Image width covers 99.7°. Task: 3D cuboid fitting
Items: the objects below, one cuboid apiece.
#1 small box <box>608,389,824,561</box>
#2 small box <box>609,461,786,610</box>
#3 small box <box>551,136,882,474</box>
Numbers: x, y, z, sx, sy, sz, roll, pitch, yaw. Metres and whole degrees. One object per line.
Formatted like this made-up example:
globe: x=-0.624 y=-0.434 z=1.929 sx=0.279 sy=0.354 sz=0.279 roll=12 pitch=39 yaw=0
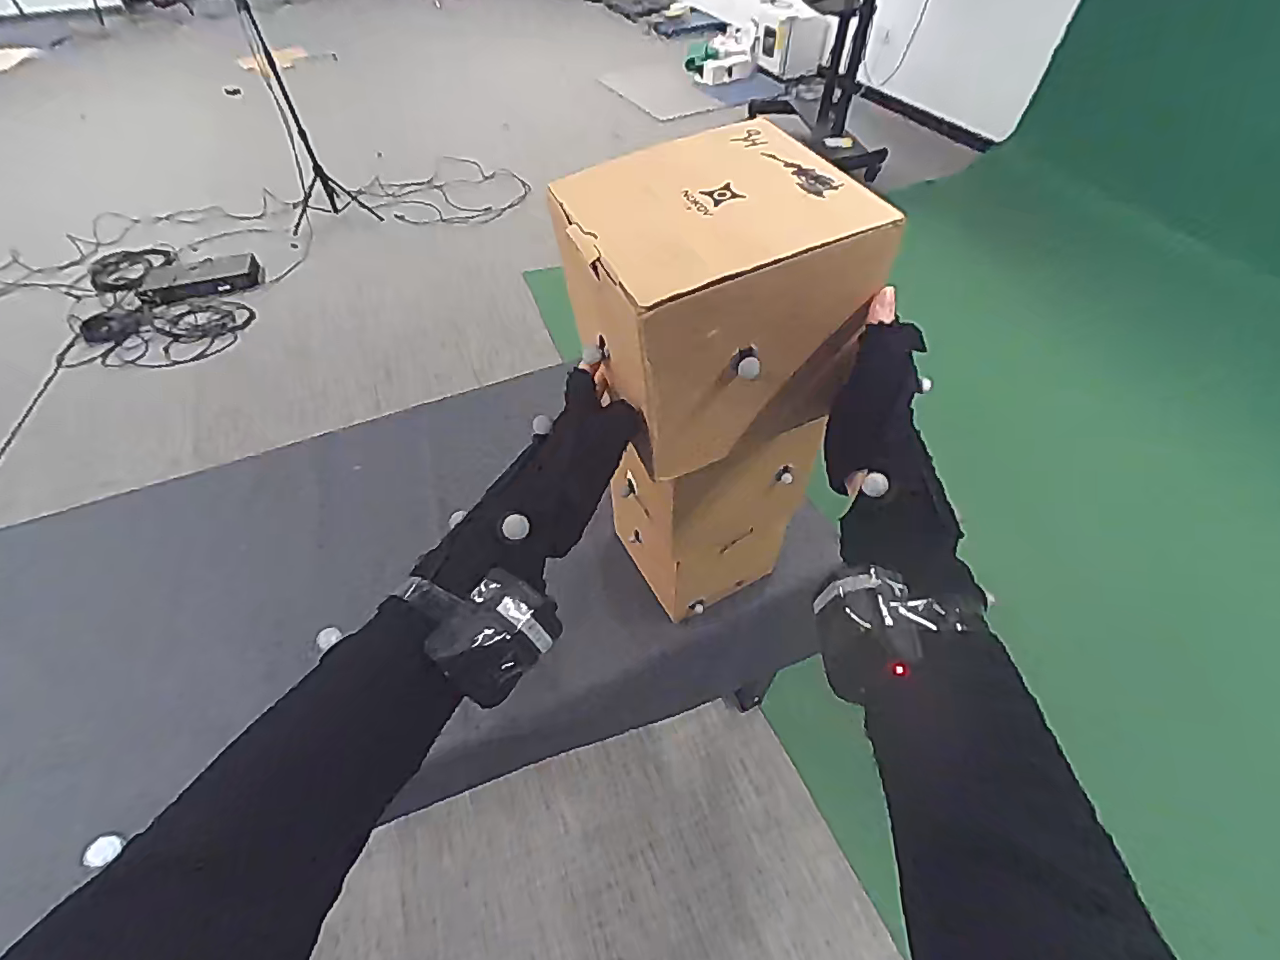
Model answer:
small box: x=0.074 y=-0.039 z=0.618 sx=0.179 sy=0.176 sz=0.168 roll=-23 pitch=52 yaw=-15
small box: x=0.073 y=0.056 z=0.749 sx=0.168 sy=0.176 sz=0.179 roll=-24 pitch=53 yaw=-17
small box: x=0.052 y=-0.132 z=0.430 sx=0.179 sy=0.176 sz=0.168 roll=-23 pitch=55 yaw=-9
